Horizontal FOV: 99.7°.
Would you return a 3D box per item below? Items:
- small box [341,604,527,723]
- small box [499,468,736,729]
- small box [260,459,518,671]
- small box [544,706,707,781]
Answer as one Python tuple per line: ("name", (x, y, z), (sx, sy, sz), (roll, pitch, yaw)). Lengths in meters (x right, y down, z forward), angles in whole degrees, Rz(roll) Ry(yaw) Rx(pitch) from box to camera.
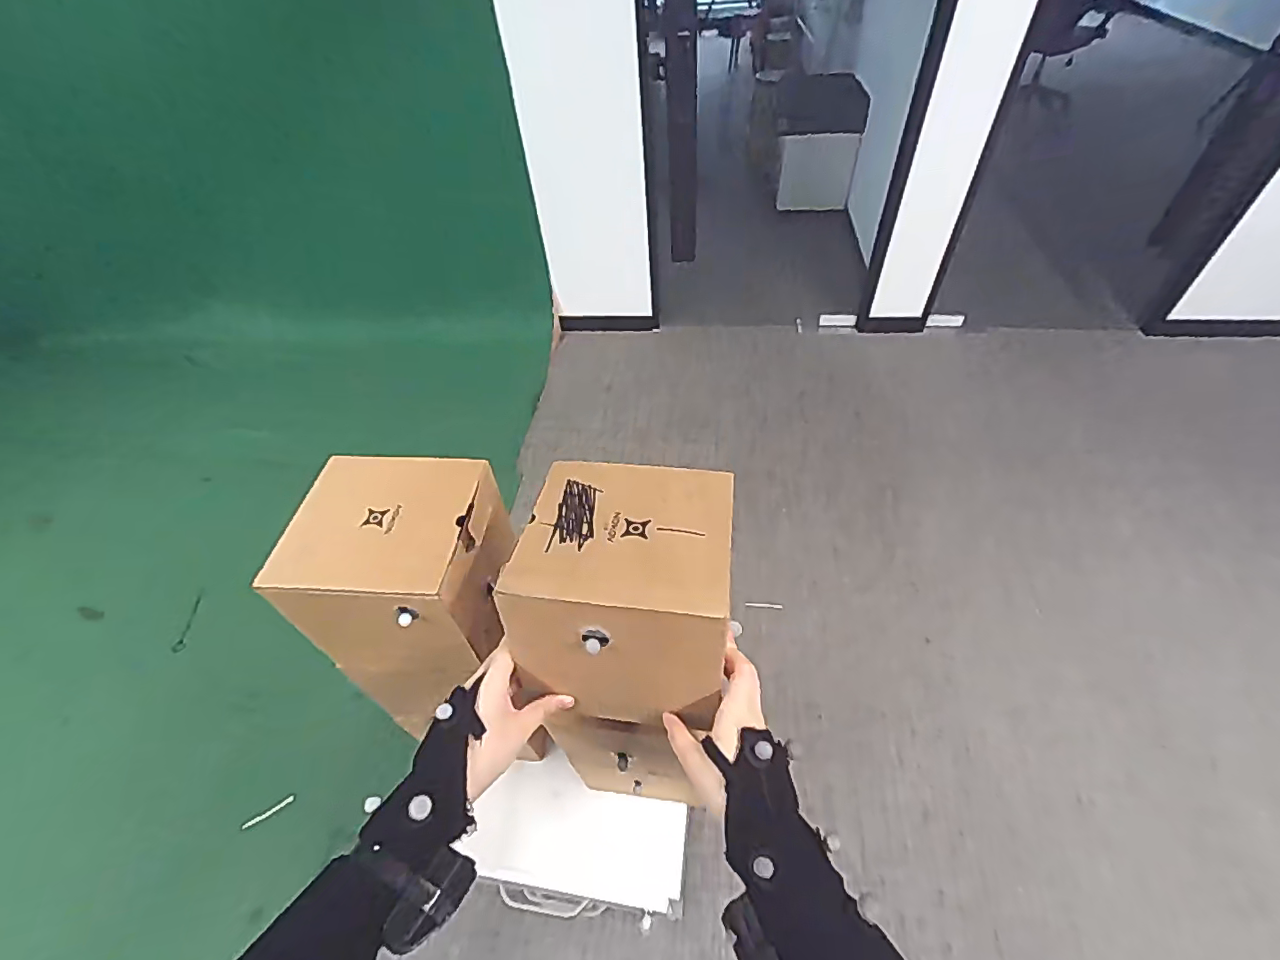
("small box", (-0.240, 0.206, 0.707), (0.179, 0.176, 0.168), (0, 48, 4))
("small box", (-0.006, 0.108, 0.504), (0.179, 0.176, 0.168), (5, 40, 8))
("small box", (-0.247, 0.095, 0.588), (0.179, 0.176, 0.168), (2, 48, 3))
("small box", (0.000, 0.243, 0.652), (0.168, 0.176, 0.179), (4, 49, 9))
